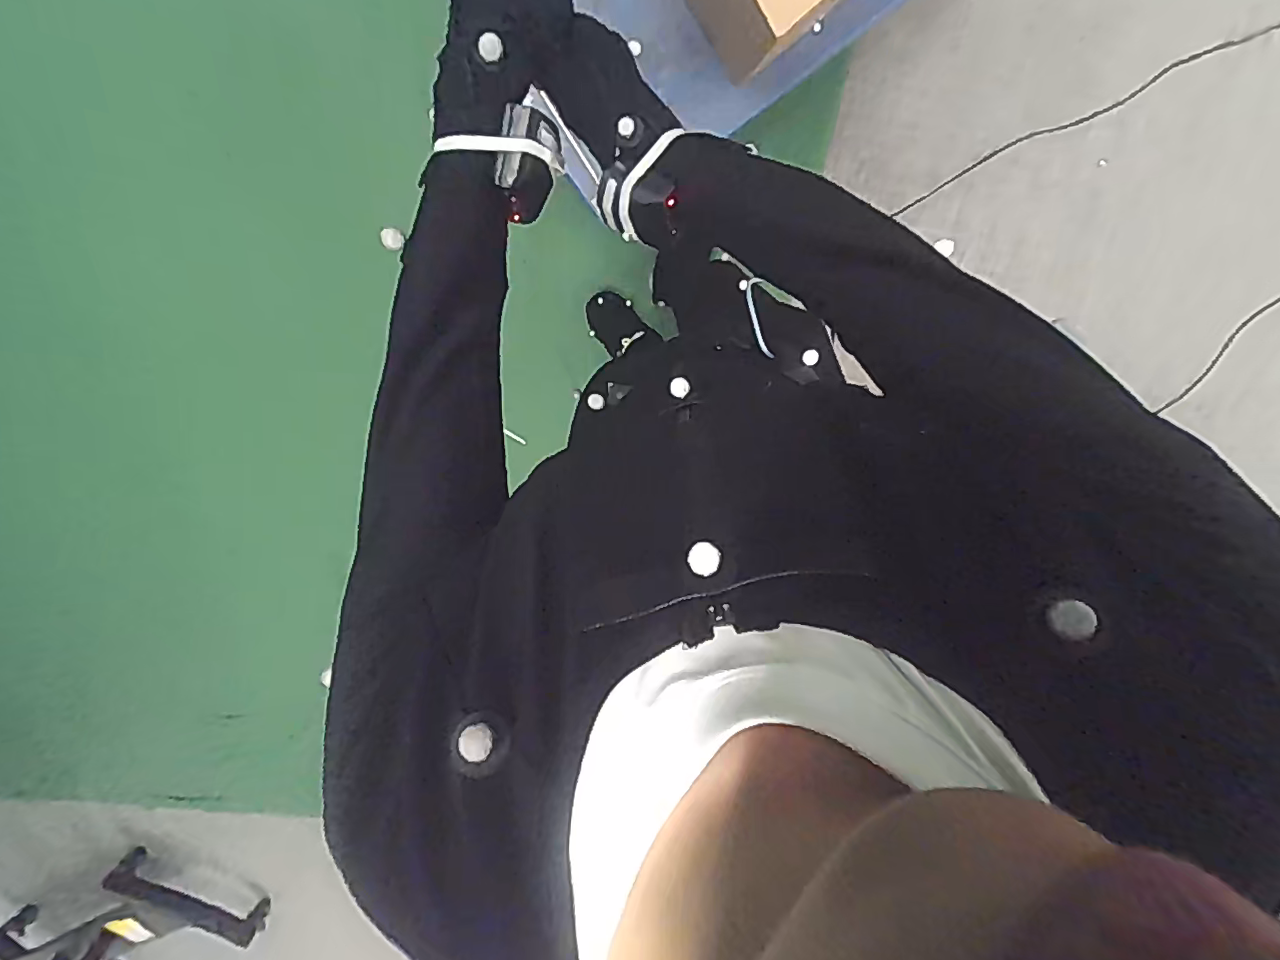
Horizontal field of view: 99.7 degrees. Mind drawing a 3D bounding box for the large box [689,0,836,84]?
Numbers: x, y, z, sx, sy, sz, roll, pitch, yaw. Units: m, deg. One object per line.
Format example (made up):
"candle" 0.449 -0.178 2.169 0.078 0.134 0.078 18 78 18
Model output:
"large box" 0.185 -0.903 0.781 0.320 0.320 0.408 -35 111 13
